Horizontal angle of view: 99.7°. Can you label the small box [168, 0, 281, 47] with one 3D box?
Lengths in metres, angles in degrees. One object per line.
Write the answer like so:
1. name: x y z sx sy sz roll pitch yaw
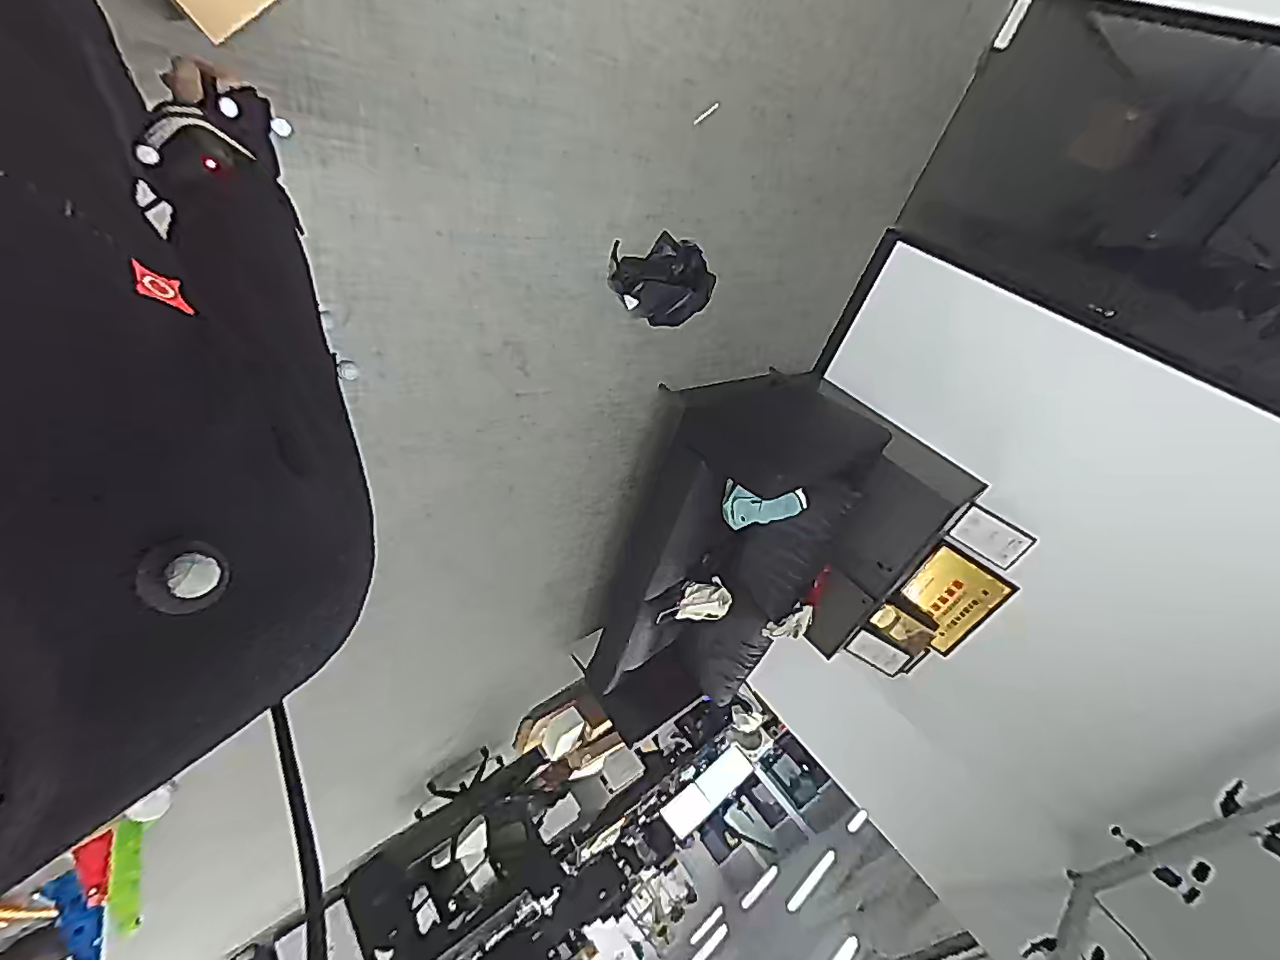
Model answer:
1. small box: -0.649 -0.783 0.778 0.168 0.176 0.179 -42 151 -5
